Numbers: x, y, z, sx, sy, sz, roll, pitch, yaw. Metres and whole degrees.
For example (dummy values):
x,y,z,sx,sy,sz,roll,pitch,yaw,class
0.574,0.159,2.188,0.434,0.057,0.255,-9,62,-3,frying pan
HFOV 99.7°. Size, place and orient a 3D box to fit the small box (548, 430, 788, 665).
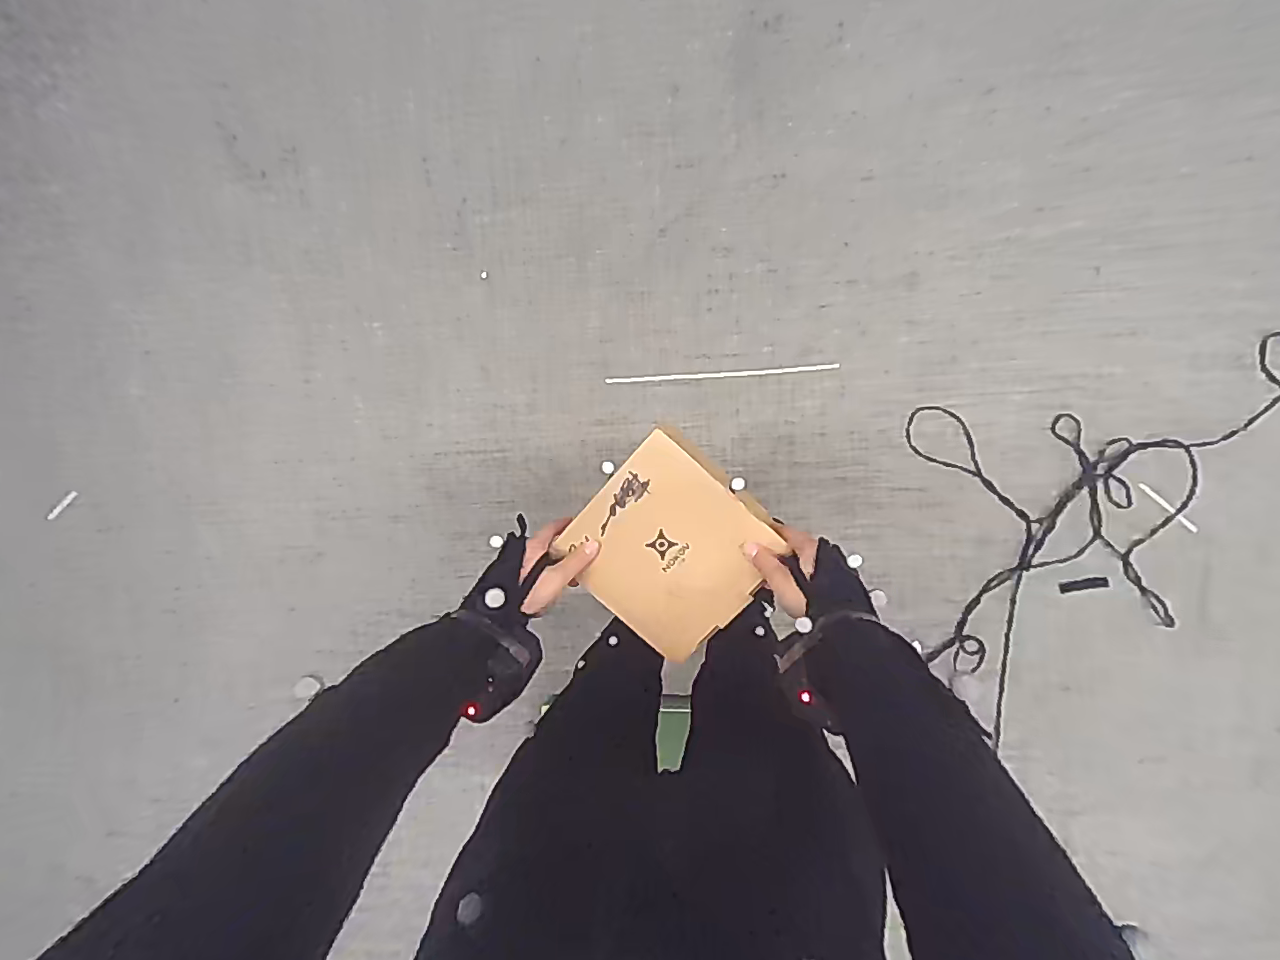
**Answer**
x,y,z,sx,sy,sz,roll,pitch,yaw,class
0.031,0.058,0.598,0.179,0.176,0.168,42,99,-3,small box
